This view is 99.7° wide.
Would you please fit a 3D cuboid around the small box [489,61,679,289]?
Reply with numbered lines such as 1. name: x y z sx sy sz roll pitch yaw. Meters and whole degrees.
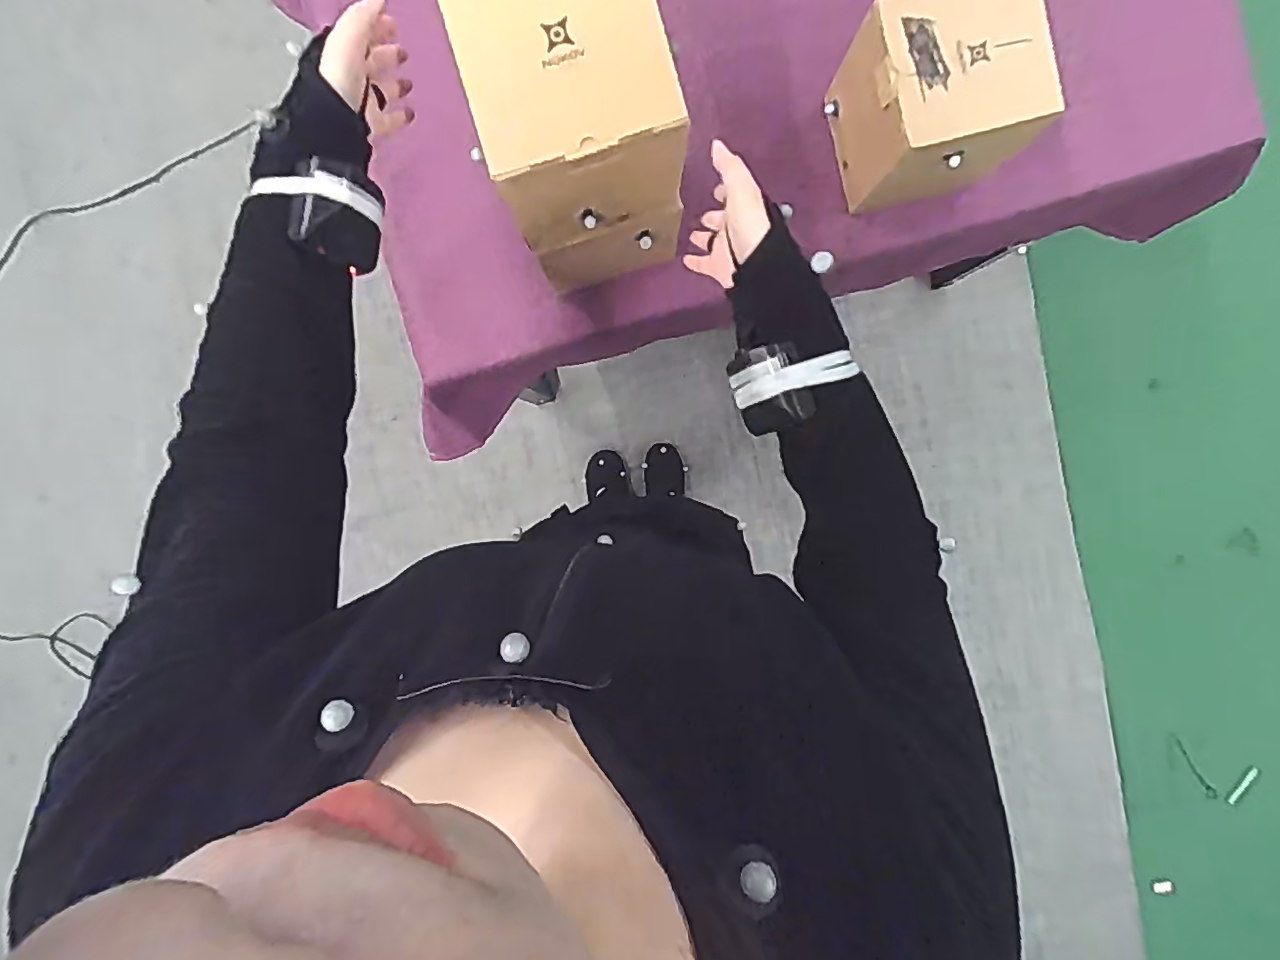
1. small box: -0.061 -0.358 0.669 0.179 0.176 0.168 -16 93 1

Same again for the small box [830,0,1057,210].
1. small box: 0.350 -0.459 0.662 0.179 0.176 0.168 -14 94 0
